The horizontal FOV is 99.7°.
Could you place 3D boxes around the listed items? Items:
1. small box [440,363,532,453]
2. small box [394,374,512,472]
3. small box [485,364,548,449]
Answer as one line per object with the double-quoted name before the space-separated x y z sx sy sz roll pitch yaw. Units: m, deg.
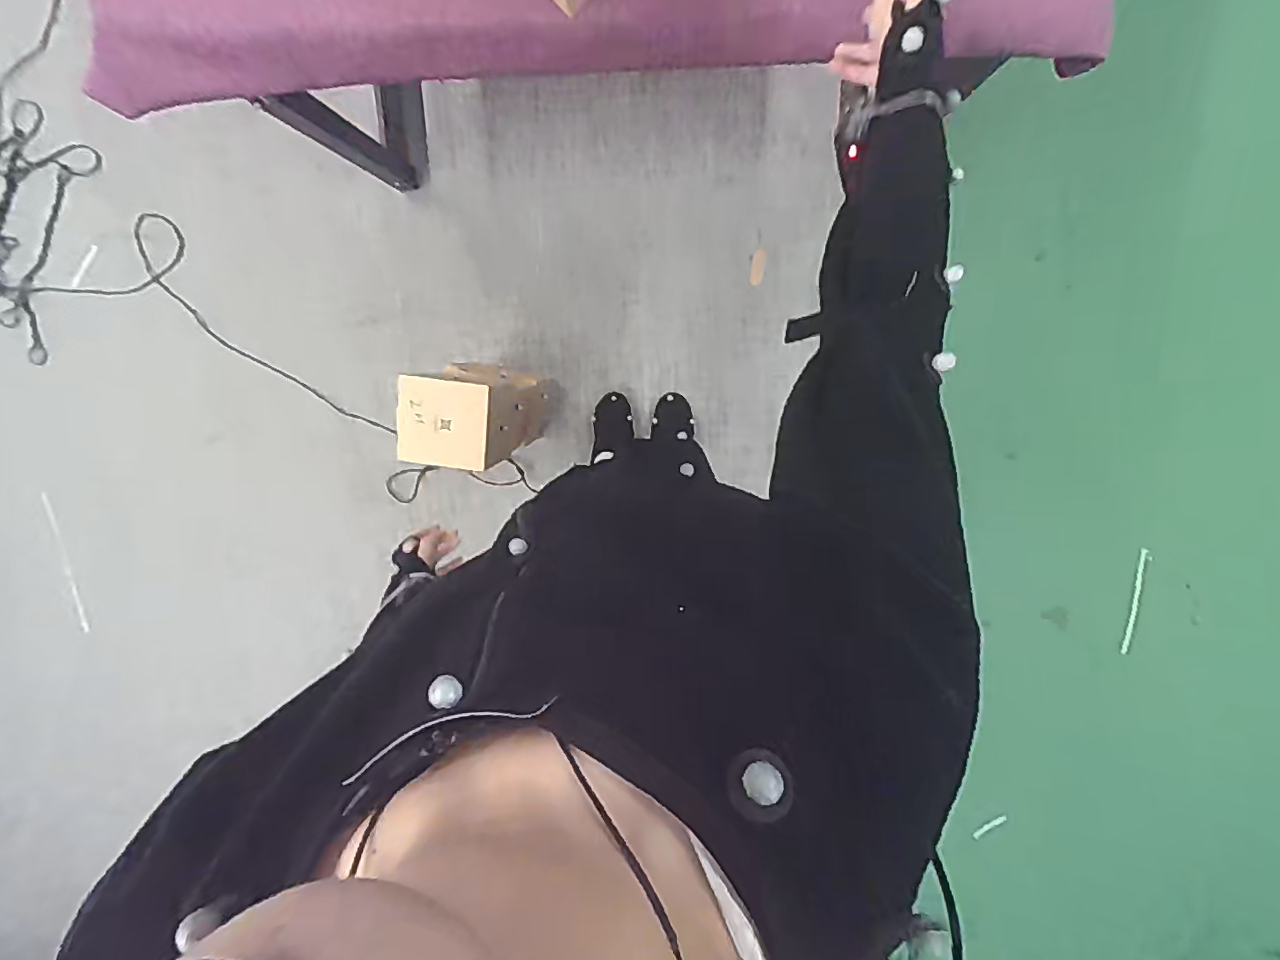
"small box" -0.364 -0.160 1.246 0.168 0.176 0.179 21 103 0
"small box" -0.366 -0.121 1.086 0.179 0.176 0.168 8 102 3
"small box" -0.347 -0.197 1.403 0.168 0.176 0.179 15 104 1
